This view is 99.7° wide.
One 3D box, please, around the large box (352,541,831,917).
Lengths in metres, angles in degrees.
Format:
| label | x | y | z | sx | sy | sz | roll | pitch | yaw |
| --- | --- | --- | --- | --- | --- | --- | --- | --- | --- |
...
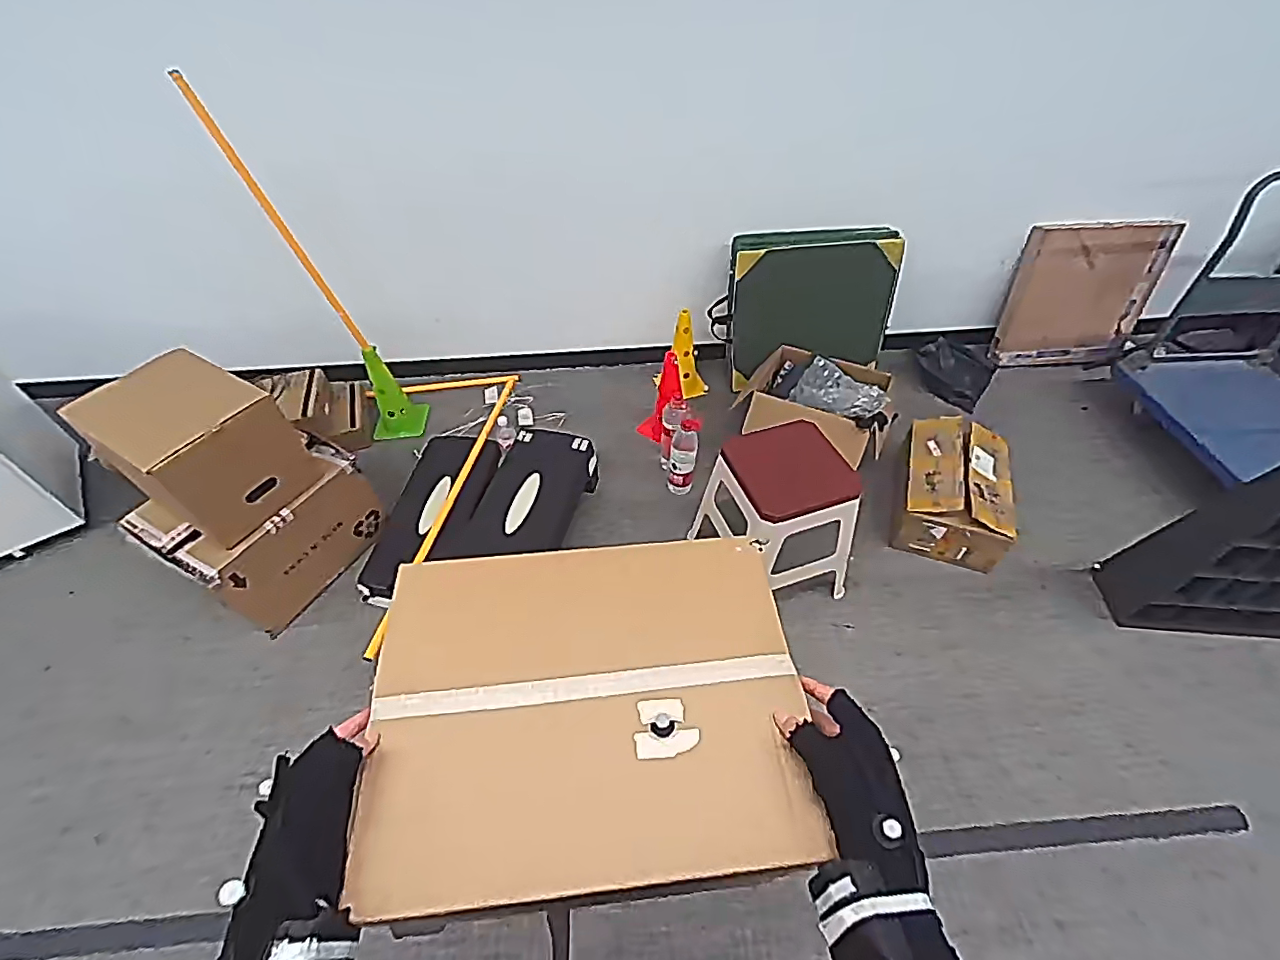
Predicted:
| label | x | y | z | sx | sy | sz | roll | pitch | yaw |
| --- | --- | --- | --- | --- | --- | --- | --- | --- | --- |
| large box | -0.052 | 0.299 | 0.649 | 0.408 | 0.320 | 0.320 | -4 | 51 | -4 |
